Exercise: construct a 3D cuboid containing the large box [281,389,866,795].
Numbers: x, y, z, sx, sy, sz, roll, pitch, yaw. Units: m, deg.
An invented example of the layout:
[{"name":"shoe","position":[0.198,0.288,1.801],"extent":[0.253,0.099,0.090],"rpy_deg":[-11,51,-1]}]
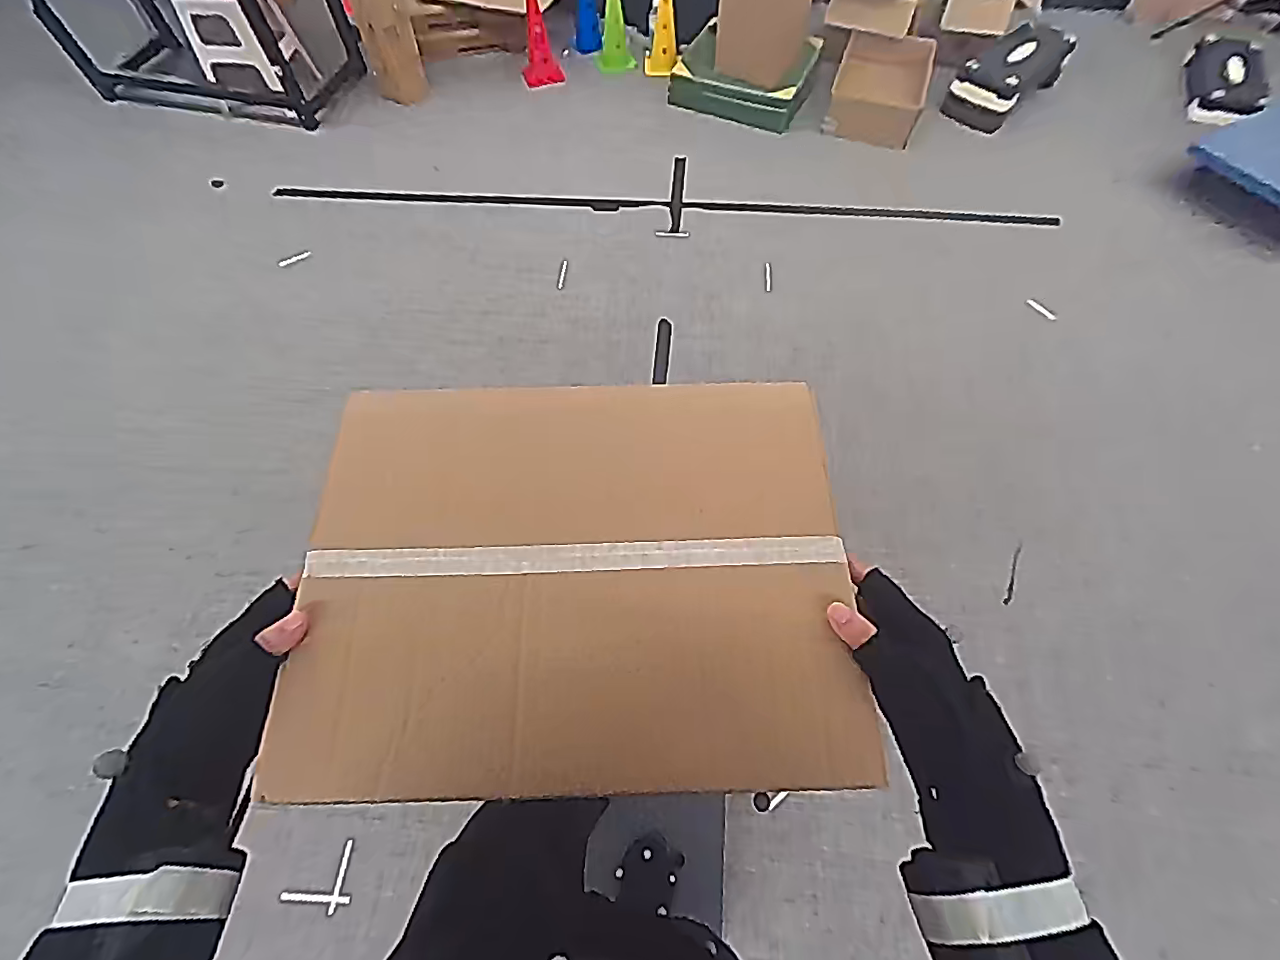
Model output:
[{"name":"large box","position":[-0.046,0.125,0.559],"extent":[0.408,0.320,0.320],"rpy_deg":[-1,64,0]}]
